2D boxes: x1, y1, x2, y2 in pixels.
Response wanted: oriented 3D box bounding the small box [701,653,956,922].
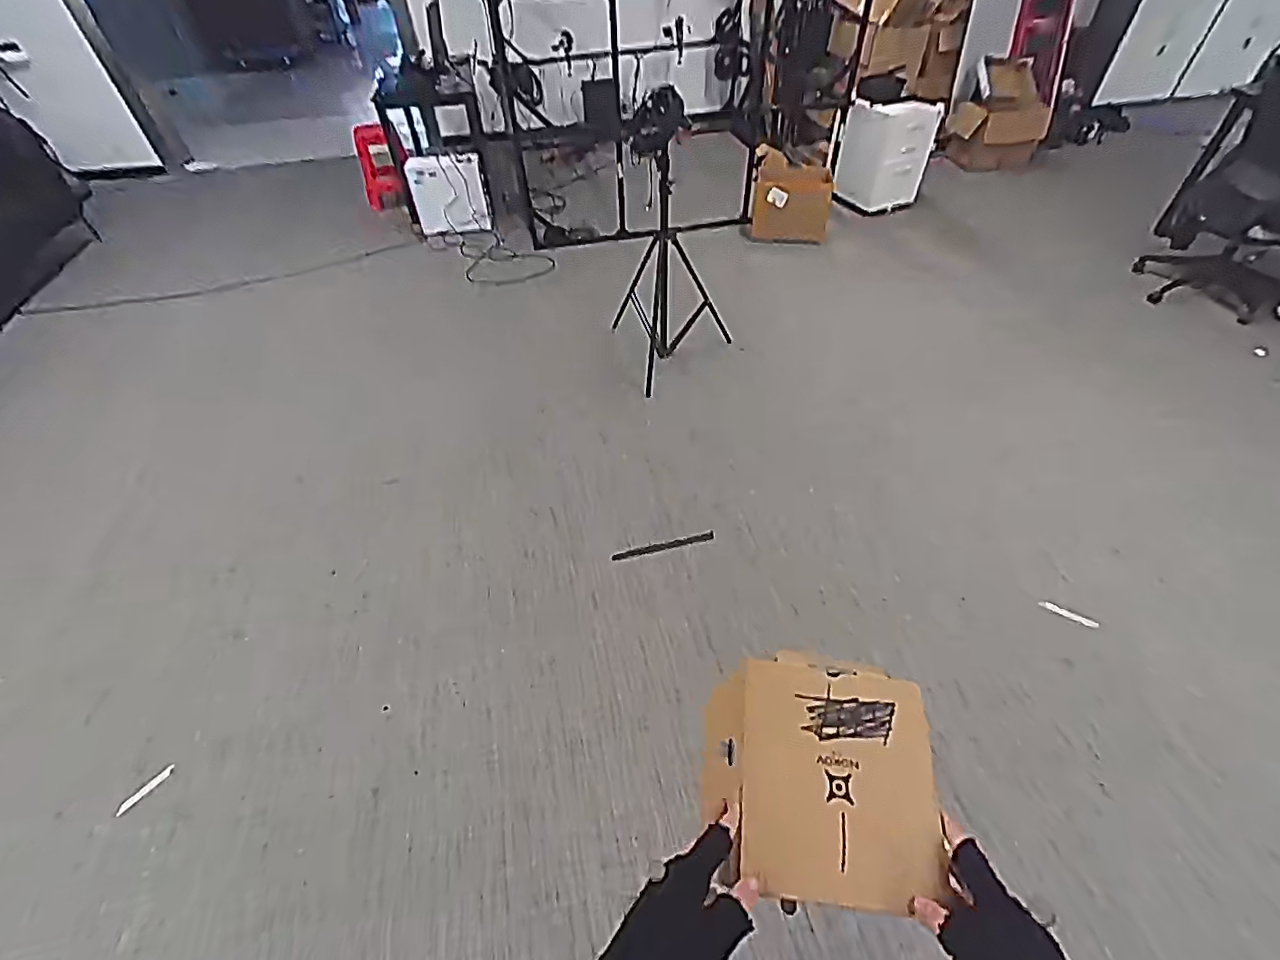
[{"bbox_3d":[0.156,0.284,0.510,0.168,0.176,0.179,9,58,-1],"label":"small box"}]
